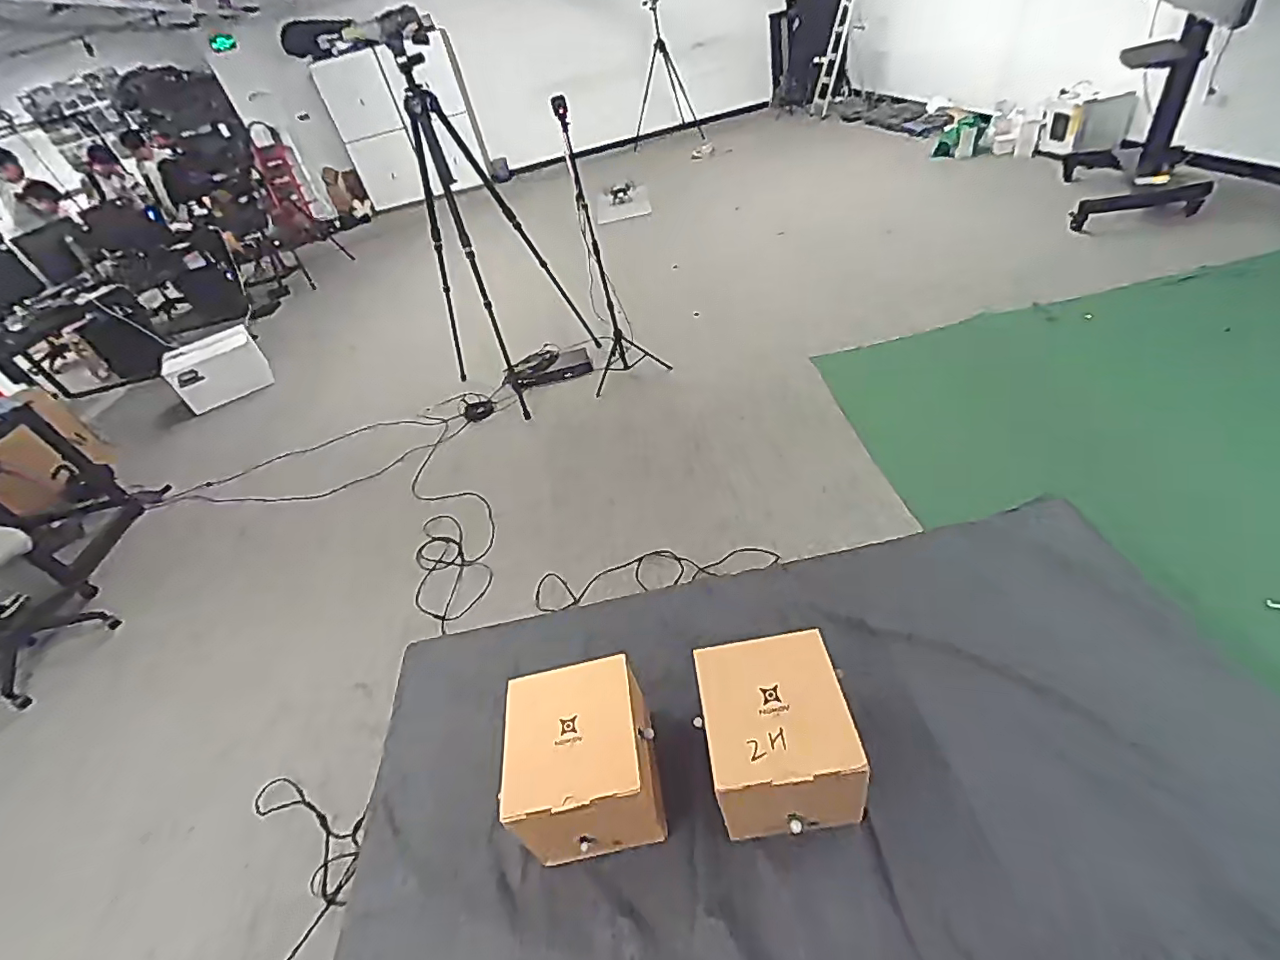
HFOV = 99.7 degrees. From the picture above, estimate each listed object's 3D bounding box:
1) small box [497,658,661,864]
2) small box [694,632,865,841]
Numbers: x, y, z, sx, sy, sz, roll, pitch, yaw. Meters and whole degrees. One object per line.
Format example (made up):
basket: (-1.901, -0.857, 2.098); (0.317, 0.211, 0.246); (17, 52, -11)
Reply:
small box: (-0.075, 0.370, 0.714); (0.168, 0.176, 0.179); (-14, 40, 2)
small box: (0.168, 0.324, 0.686); (0.168, 0.176, 0.179); (-11, 40, 5)
